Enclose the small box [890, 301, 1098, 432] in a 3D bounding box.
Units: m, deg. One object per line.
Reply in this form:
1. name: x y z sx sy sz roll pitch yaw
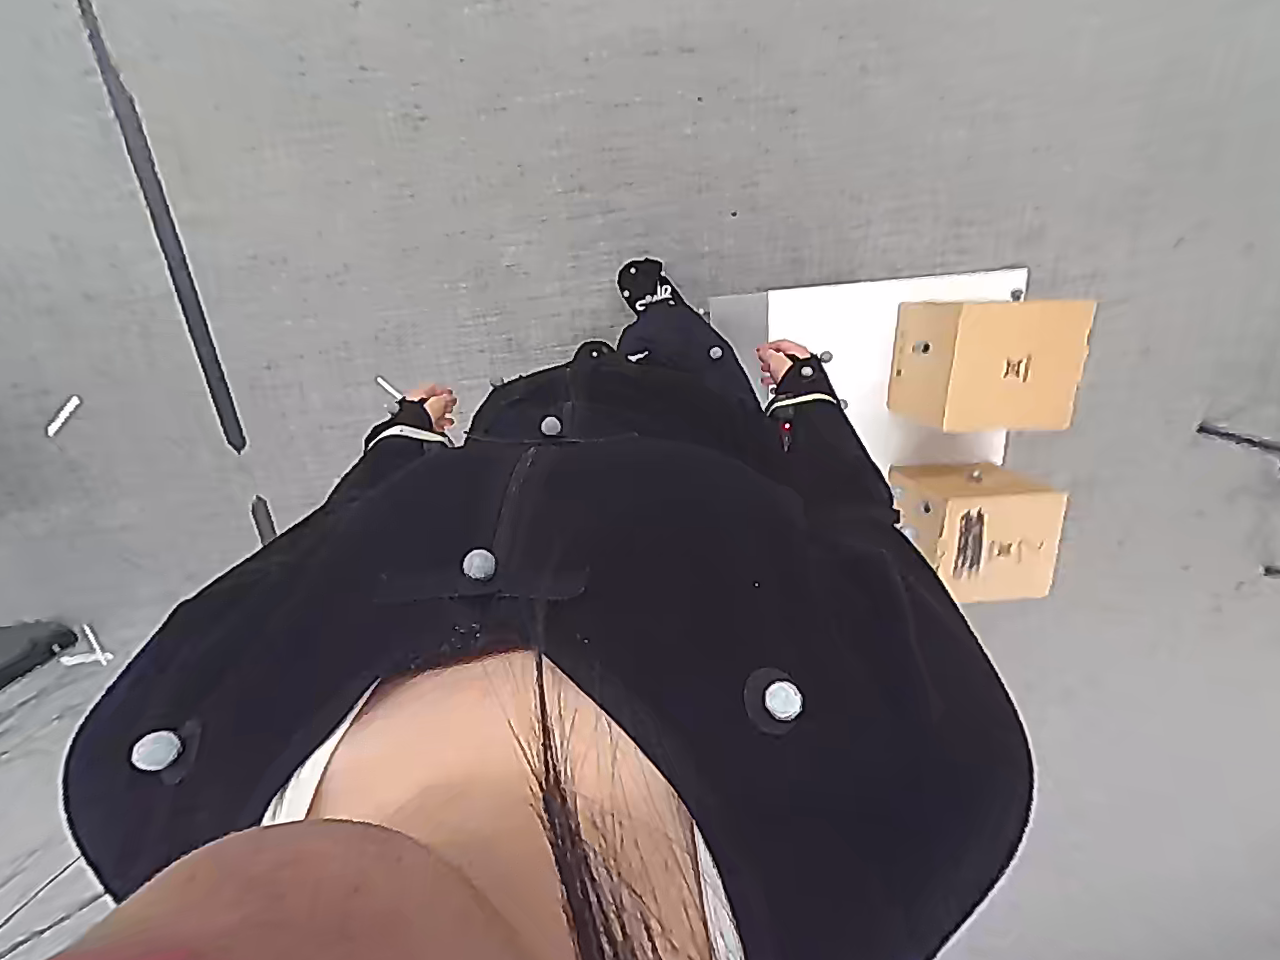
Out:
1. small box: 0.482 -0.166 0.769 0.179 0.176 0.168 -2 108 -2
